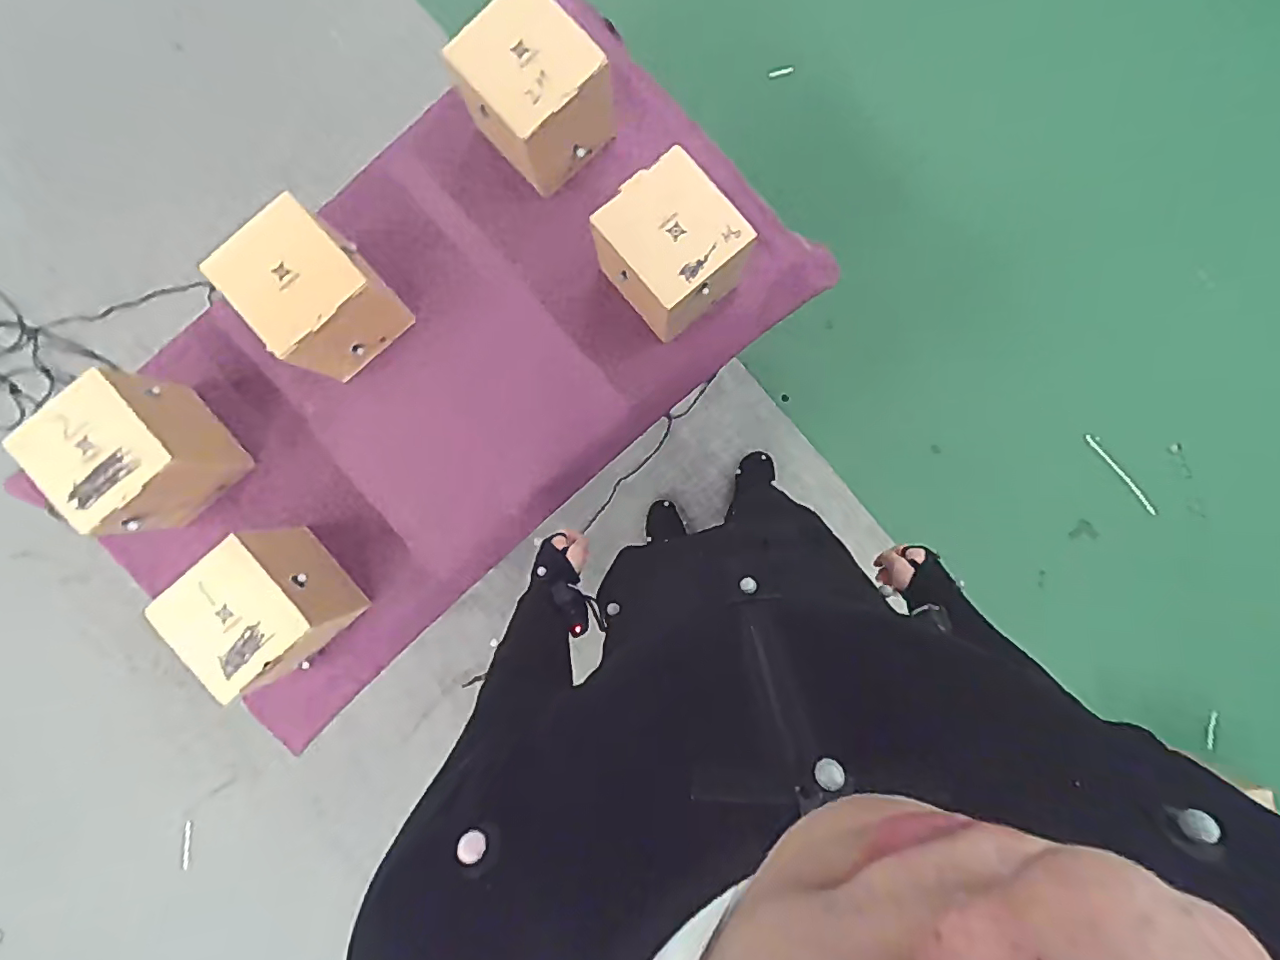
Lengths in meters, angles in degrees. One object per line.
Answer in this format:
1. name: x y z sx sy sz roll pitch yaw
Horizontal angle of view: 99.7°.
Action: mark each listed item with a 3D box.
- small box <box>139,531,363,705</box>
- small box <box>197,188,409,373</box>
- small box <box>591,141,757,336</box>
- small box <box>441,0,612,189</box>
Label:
1. small box: -0.563 0.190 0.811 0.168 0.176 0.179 -42 89 -2
2. small box: -0.495 -0.288 0.824 0.168 0.176 0.179 -42 91 -1
3. small box: 0.048 -0.352 0.825 0.168 0.176 0.179 -40 87 0
4. small box: -0.160 -0.595 0.827 0.168 0.176 0.179 -43 90 2
